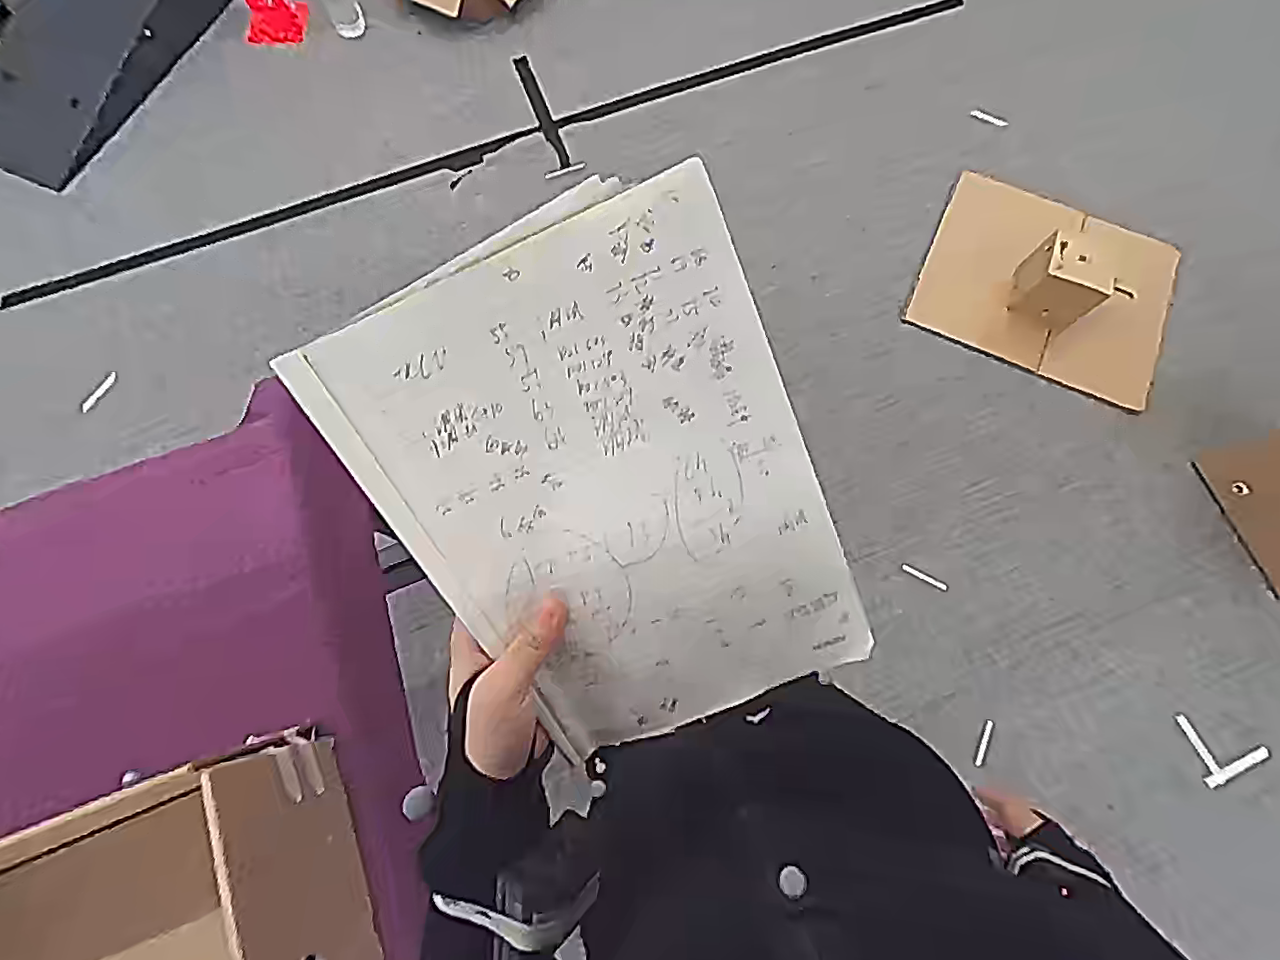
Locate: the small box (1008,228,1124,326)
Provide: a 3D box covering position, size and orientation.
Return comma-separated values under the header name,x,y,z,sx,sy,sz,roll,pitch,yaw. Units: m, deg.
name,x,y,z,sx,sy,sz,roll,pitch,yaw
small box,1.193,-0.561,1.522,0.179,0.176,0.168,23,76,5
